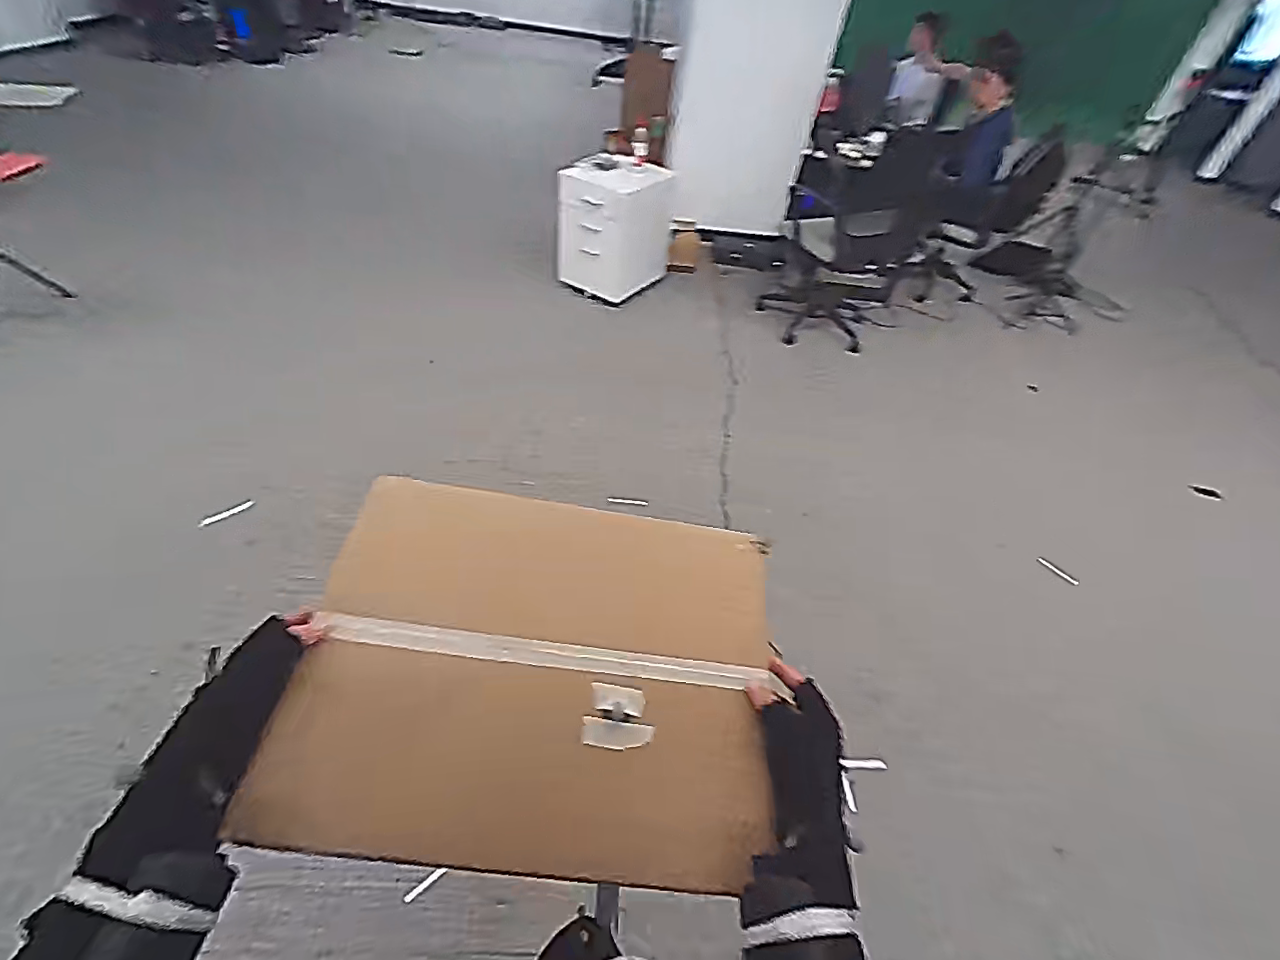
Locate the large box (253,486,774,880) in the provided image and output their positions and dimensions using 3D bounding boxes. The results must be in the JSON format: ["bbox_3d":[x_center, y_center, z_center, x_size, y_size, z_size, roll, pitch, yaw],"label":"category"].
[{"bbox_3d":[-0.103,0.243,0.614,0.408,0.320,0.320,10,55,-5],"label":"large box"}]
